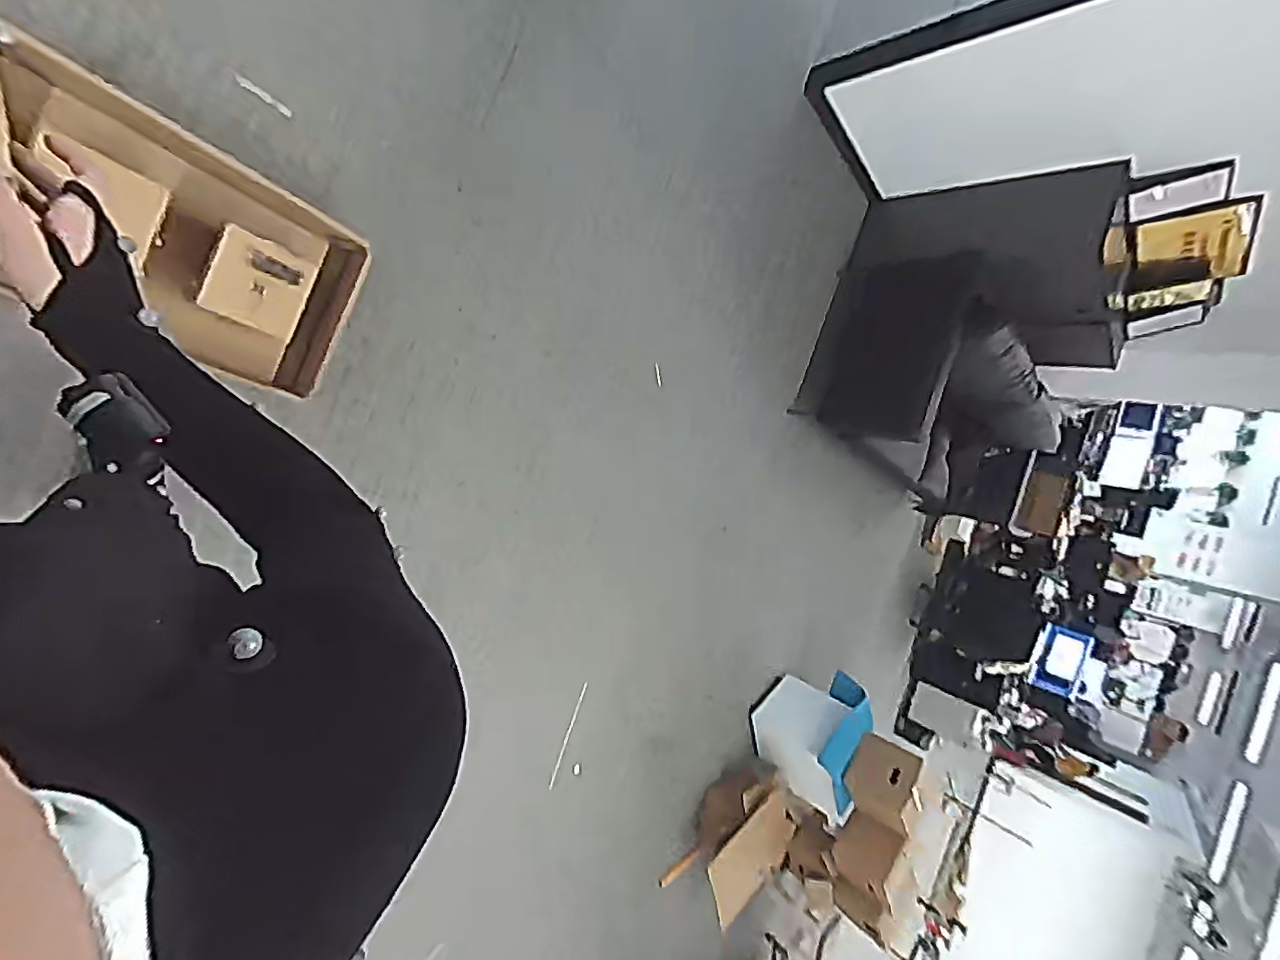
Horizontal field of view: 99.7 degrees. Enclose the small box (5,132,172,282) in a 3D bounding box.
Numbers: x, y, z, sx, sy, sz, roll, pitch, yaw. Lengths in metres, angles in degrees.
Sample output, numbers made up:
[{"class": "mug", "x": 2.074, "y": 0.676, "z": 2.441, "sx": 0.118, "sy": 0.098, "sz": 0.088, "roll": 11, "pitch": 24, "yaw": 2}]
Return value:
[{"class": "small box", "x": -0.986, "y": -0.477, "z": 0.978, "sx": 0.168, "sy": 0.176, "sz": 0.179, "roll": 23, "pitch": 86, "yaw": -47}]
